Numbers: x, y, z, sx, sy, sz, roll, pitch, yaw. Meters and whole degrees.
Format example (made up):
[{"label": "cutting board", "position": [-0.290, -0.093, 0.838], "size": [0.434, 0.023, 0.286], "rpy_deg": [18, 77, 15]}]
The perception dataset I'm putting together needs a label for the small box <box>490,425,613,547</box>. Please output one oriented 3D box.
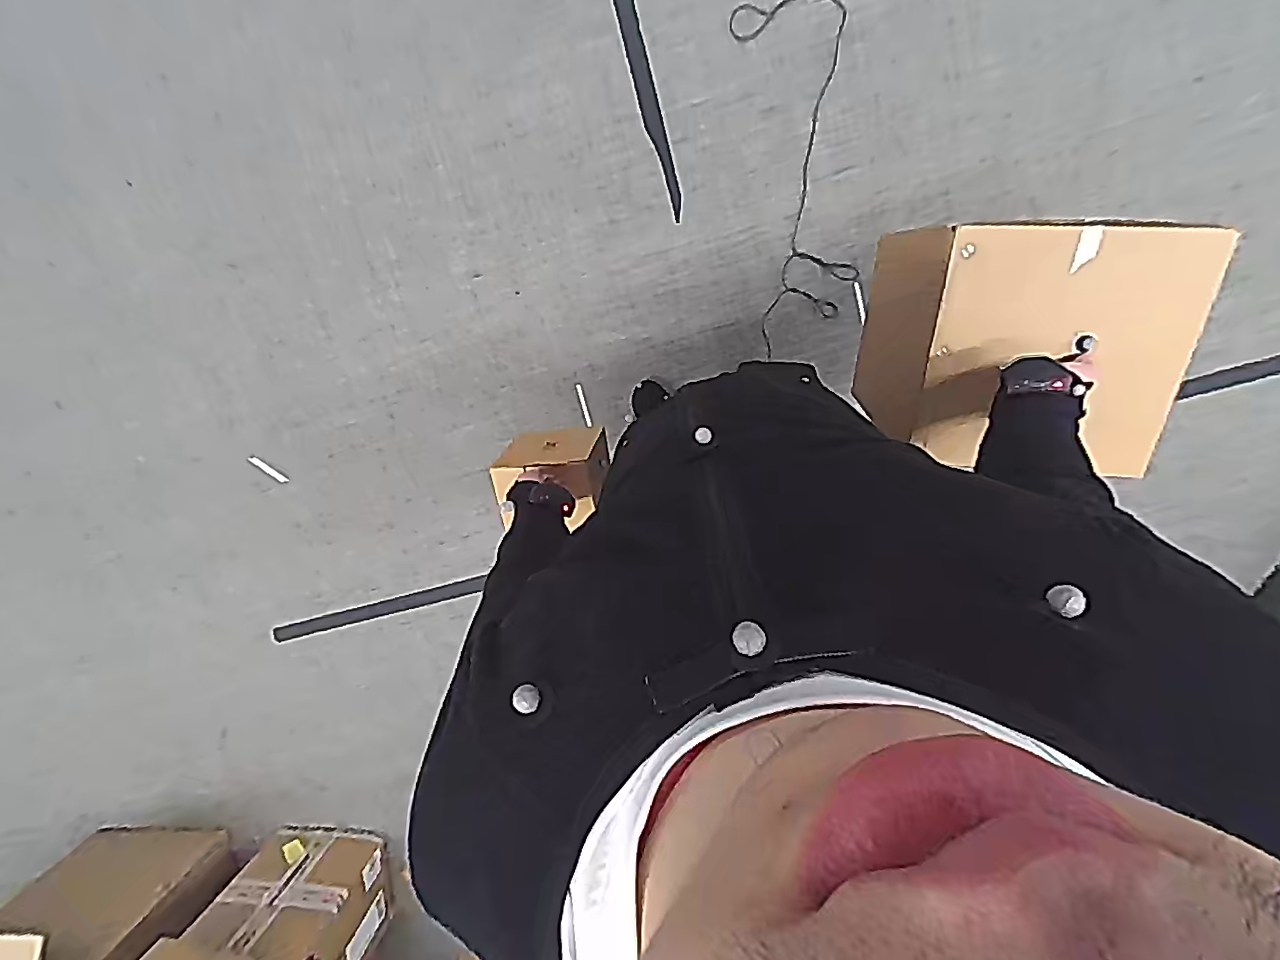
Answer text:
[{"label": "small box", "position": [-0.148, 0.012, 0.981], "size": [0.168, 0.179, 0.176], "rpy_deg": [-3, 115, 8]}]
